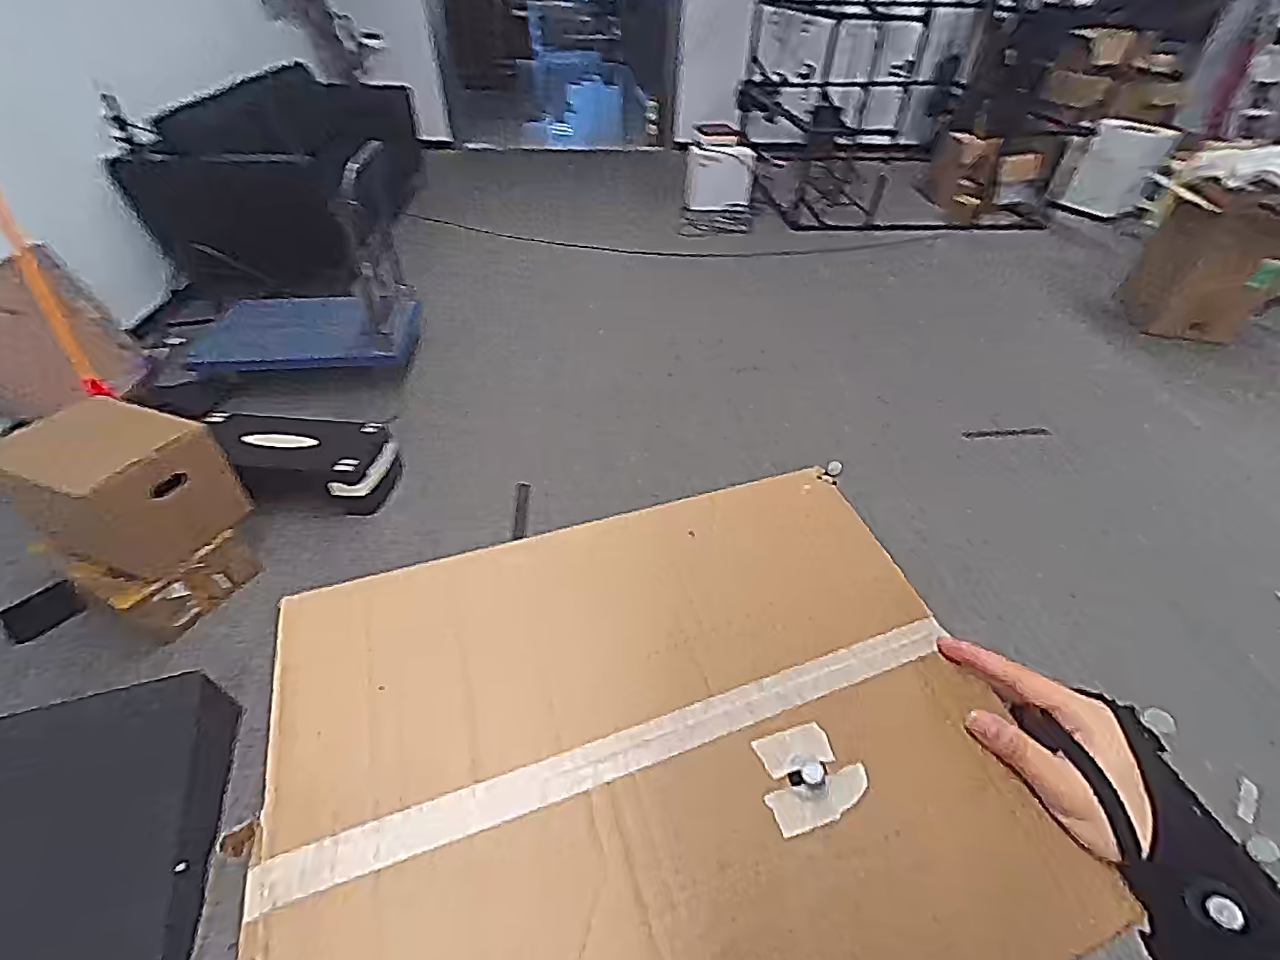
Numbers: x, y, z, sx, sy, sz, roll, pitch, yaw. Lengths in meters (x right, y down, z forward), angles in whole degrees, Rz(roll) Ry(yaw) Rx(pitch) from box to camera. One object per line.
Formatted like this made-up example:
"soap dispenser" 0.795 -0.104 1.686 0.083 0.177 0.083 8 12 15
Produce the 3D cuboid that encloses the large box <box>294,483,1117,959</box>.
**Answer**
"large box" 0.006 0.253 0.429 0.408 0.320 0.320 -13 53 -16
